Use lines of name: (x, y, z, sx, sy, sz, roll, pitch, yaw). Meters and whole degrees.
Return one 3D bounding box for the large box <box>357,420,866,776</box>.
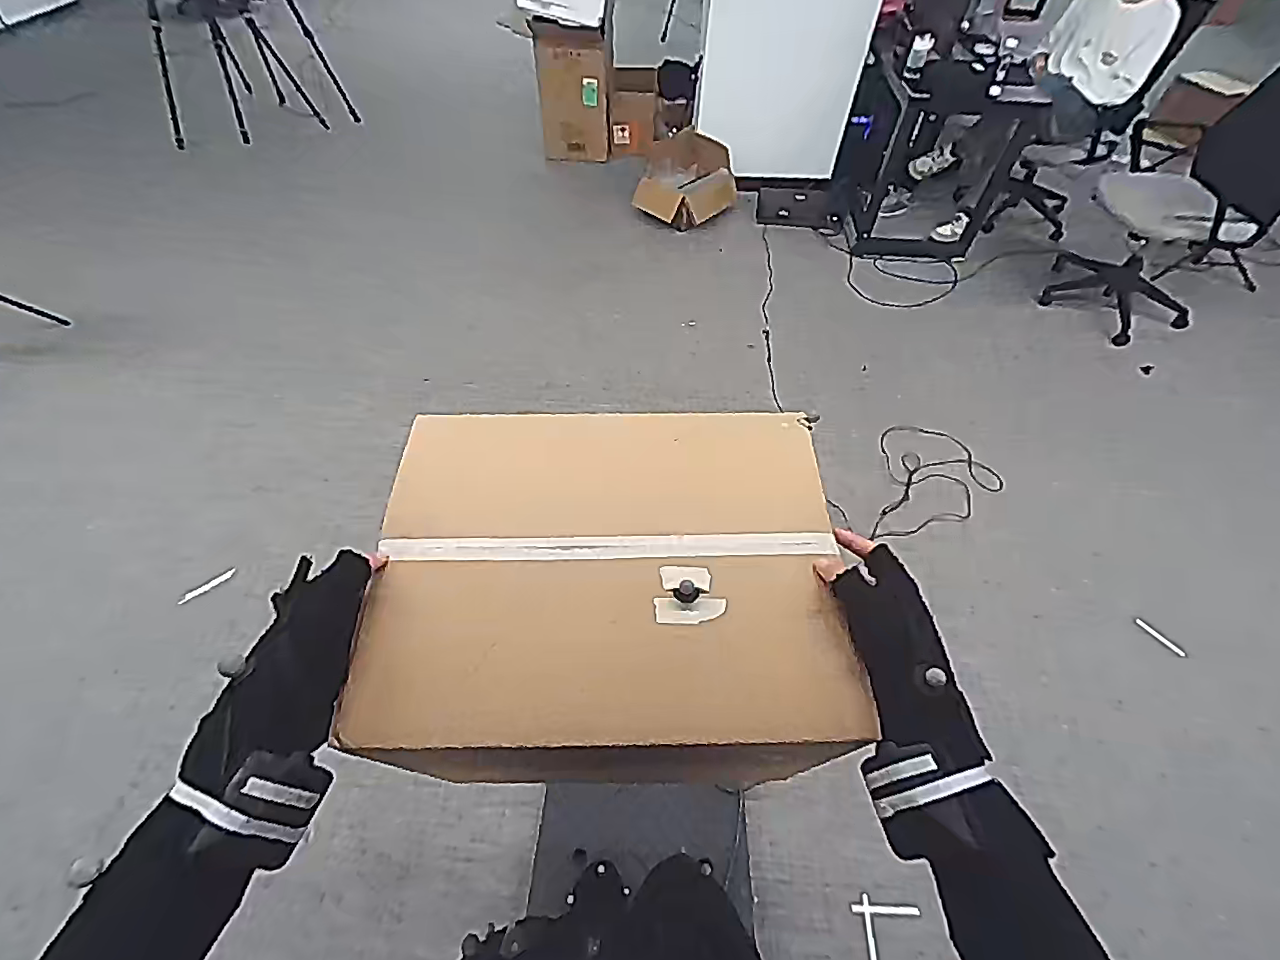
large box: (-0.026, 0.146, 0.620, 0.408, 0.320, 0.320, 0, 57, -1)
